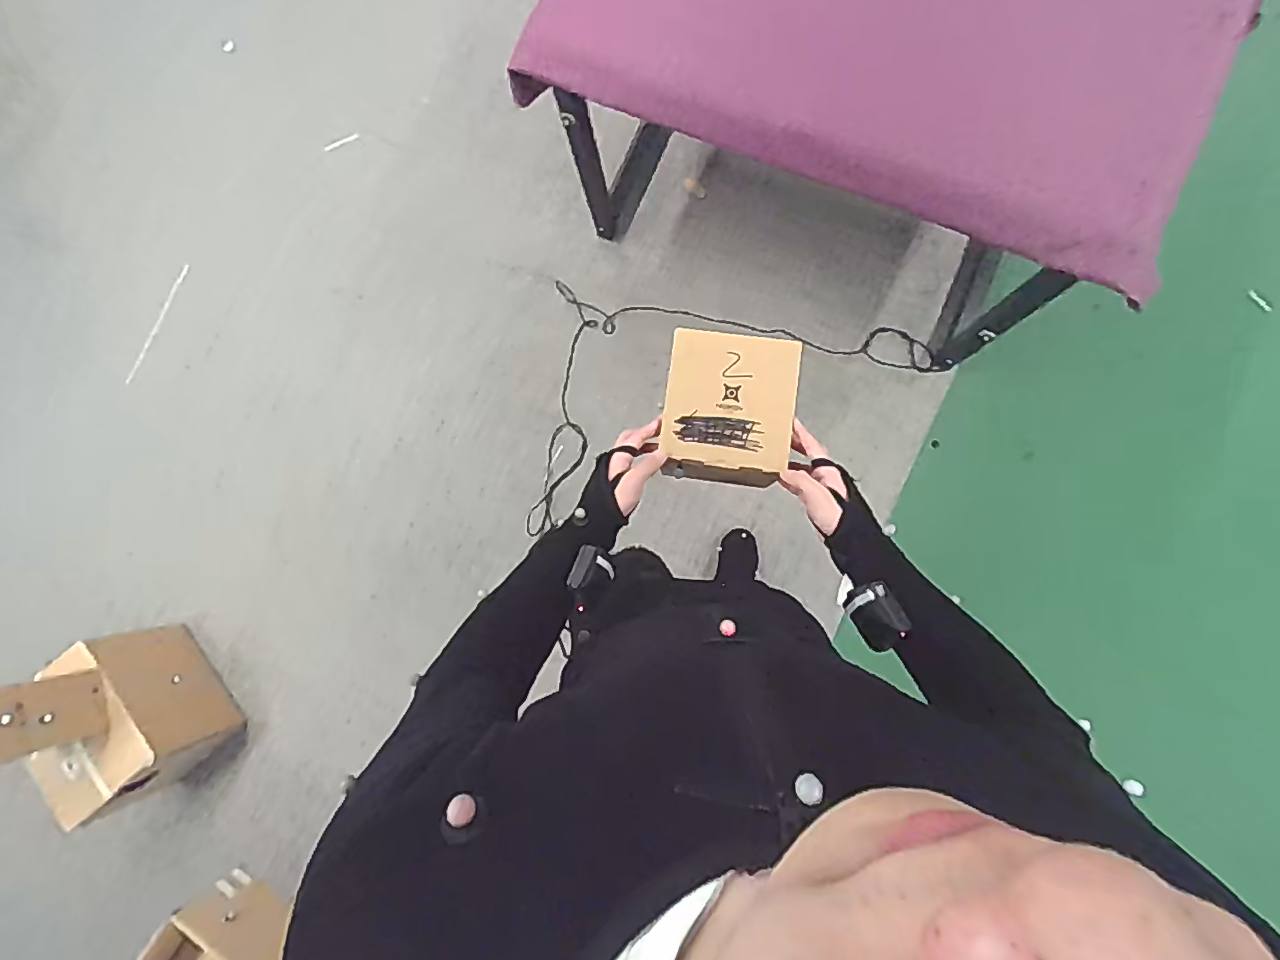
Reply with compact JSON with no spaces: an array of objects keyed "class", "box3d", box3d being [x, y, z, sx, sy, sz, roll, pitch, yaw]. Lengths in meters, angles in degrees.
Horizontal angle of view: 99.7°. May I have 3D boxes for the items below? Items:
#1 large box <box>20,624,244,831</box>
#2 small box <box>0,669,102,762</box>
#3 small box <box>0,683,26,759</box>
[{"class":"large box","box3d":[-1.504,0.693,1.589,0.320,0.320,0.408,-41,83,0]},{"class":"small box","box3d":[-1.524,0.594,1.355,0.179,0.176,0.168,-21,82,2]},{"class":"small box","box3d":[-1.539,0.572,1.191,0.179,0.176,0.168,-22,83,1]}]
